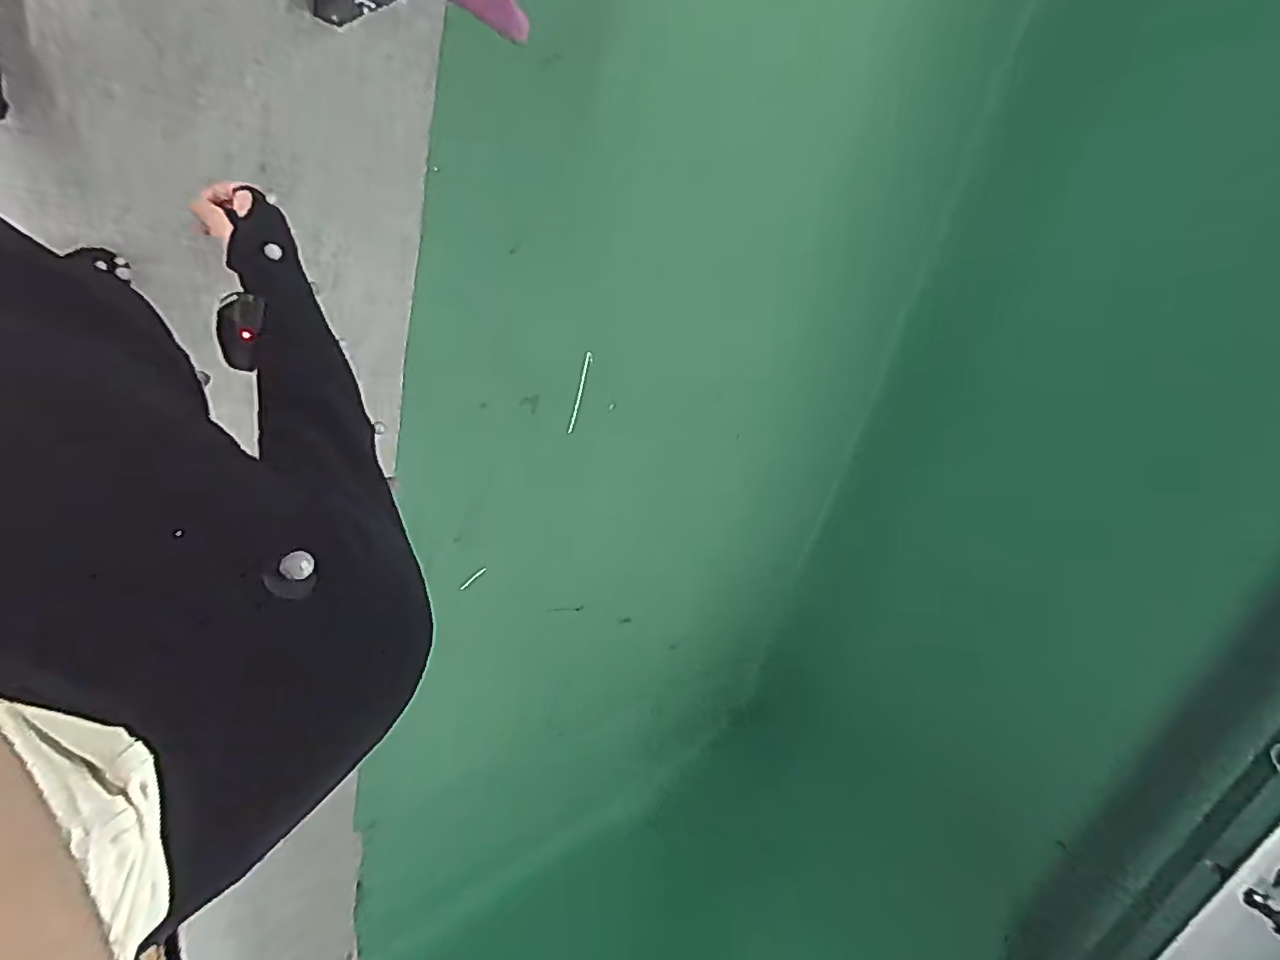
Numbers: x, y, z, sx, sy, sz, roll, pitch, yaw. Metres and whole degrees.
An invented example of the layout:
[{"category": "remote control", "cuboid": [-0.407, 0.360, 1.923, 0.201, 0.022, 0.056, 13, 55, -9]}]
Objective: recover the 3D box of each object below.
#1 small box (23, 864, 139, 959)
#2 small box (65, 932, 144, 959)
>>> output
[{"category": "small box", "cuboid": [-1.192, 0.985, 1.159, 0.168, 0.176, 0.179, -2, 116, -46]}, {"category": "small box", "cuboid": [-1.084, 1.054, 1.055, 0.168, 0.176, 0.179, 1, 114, -48]}]
